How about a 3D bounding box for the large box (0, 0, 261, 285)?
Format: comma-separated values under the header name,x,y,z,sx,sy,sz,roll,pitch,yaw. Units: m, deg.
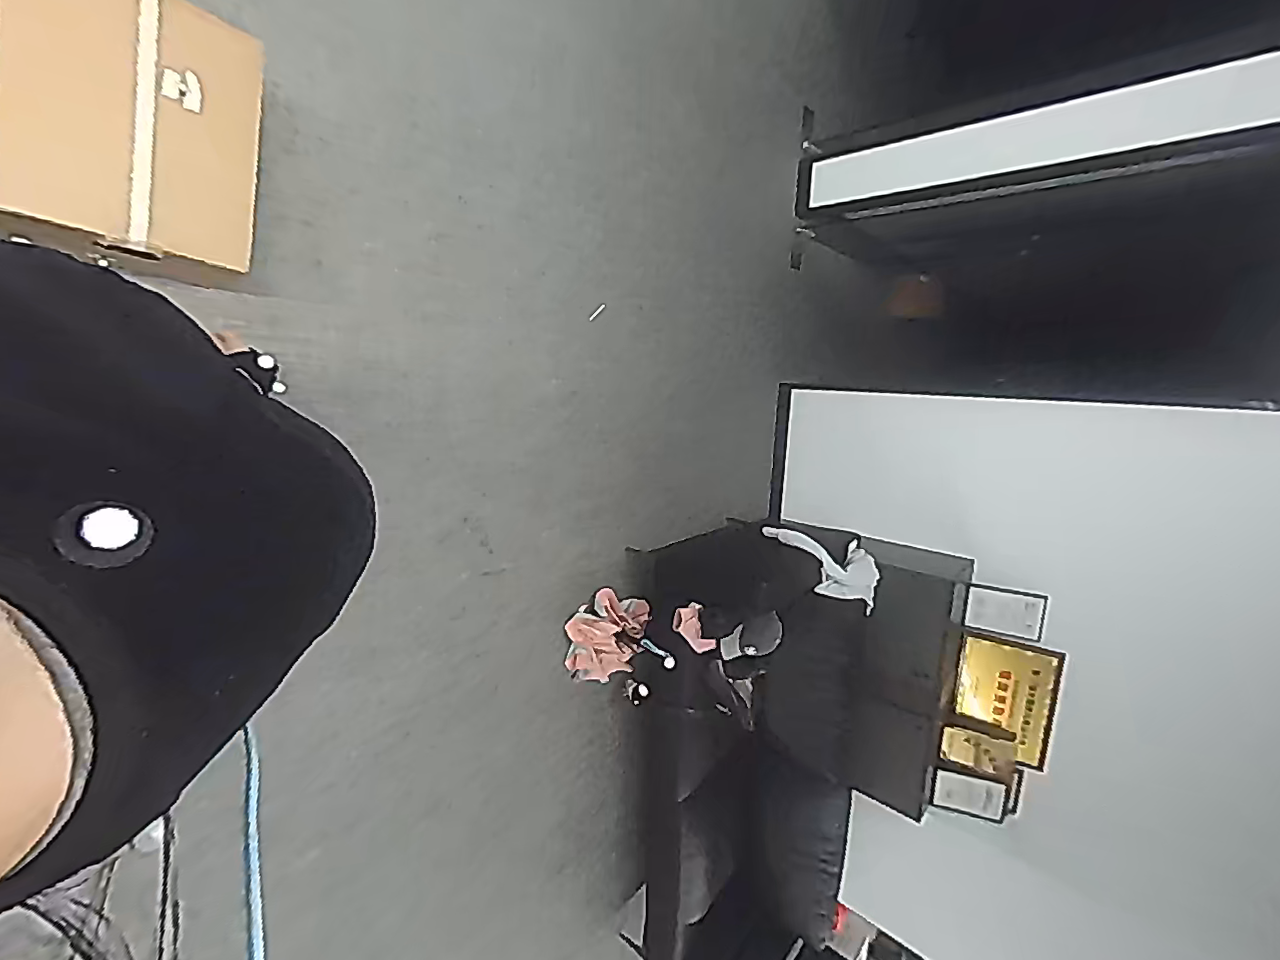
name,x,y,z,sx,sy,sz,roll,pitch,yaw
large box,-0.909,-0.604,0.968,0.320,0.320,0.408,2,96,-49
